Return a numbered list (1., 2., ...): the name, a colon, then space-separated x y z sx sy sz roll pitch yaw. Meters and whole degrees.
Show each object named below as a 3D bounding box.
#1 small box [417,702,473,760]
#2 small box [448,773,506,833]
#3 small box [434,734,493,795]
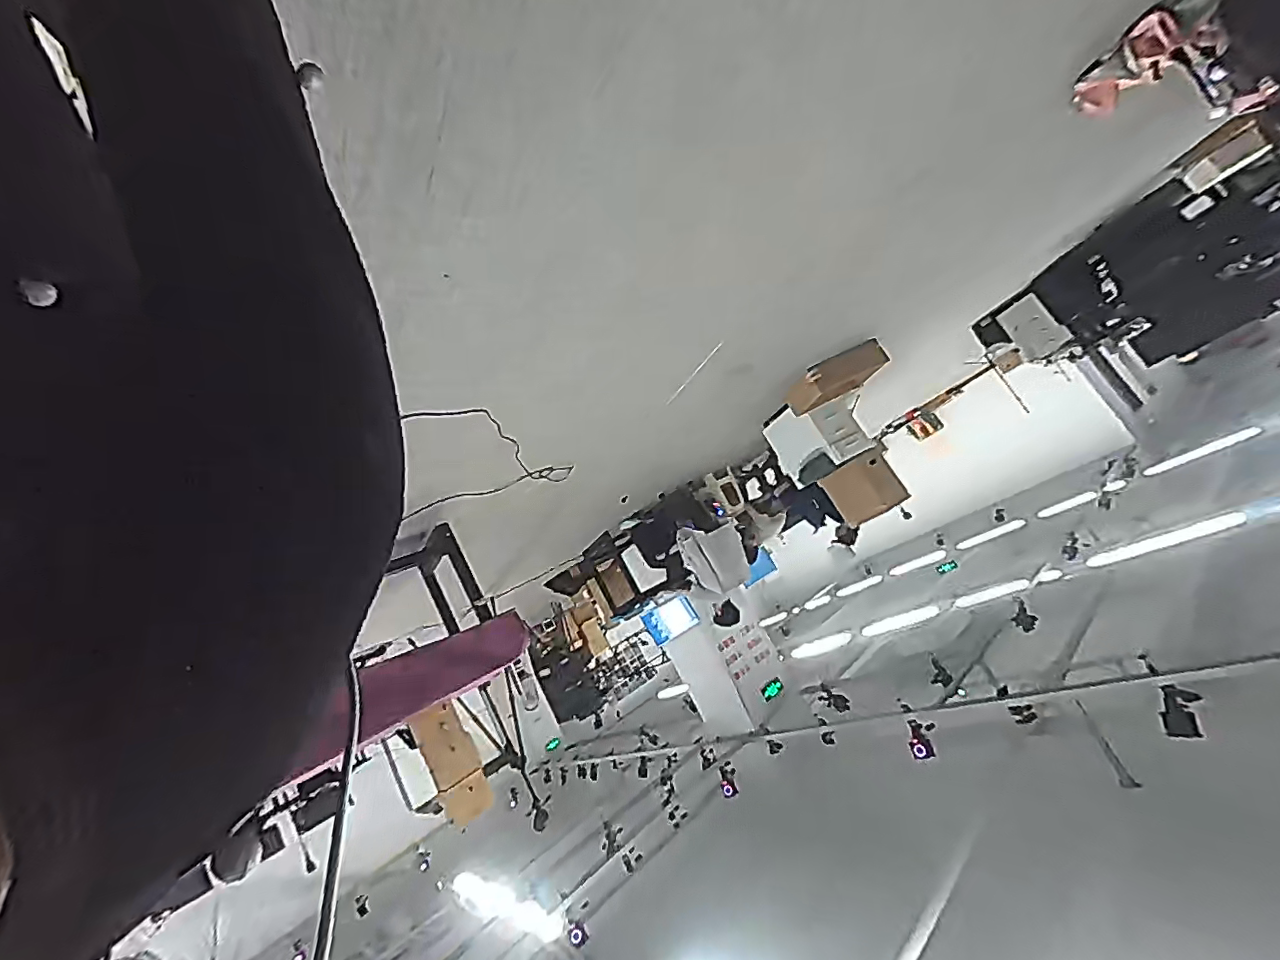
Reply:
1. small box: -0.869 1.112 2.401 0.168 0.176 0.179 -19 164 -39
2. small box: -0.710 1.390 2.334 0.168 0.176 0.179 -20 163 -39
3. small box: -0.780 1.247 2.371 0.179 0.176 0.168 -18 163 -40
